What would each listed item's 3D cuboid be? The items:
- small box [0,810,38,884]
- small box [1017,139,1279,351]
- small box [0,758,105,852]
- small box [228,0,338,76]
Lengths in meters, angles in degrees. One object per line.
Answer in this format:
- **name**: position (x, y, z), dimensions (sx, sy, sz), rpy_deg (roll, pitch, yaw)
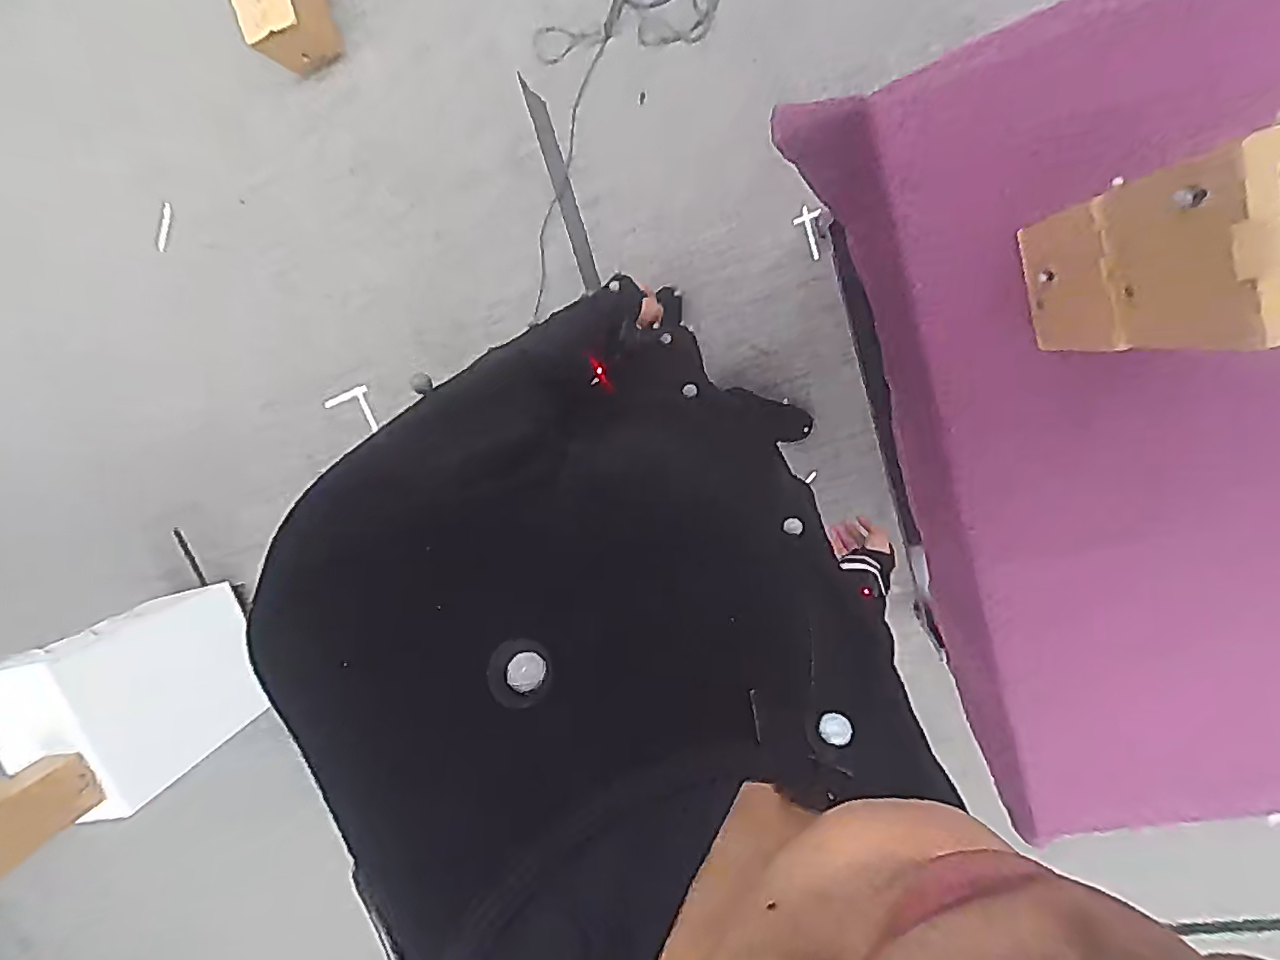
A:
- **small box**: position (-1.701, 0.955, 1.354), dimensions (0.168, 0.176, 0.179), rpy_deg (-17, 103, 16)
- **small box**: position (0.595, -0.262, 0.642), dimensions (0.179, 0.176, 0.168), rpy_deg (-16, 101, 15)
- **small box**: position (-1.673, 0.907, 1.509), dimensions (0.179, 0.176, 0.168), rpy_deg (-13, 102, 14)
- **small box**: position (-0.952, -1.233, 1.439), dimensions (0.168, 0.176, 0.179), rpy_deg (-11, 102, 14)
